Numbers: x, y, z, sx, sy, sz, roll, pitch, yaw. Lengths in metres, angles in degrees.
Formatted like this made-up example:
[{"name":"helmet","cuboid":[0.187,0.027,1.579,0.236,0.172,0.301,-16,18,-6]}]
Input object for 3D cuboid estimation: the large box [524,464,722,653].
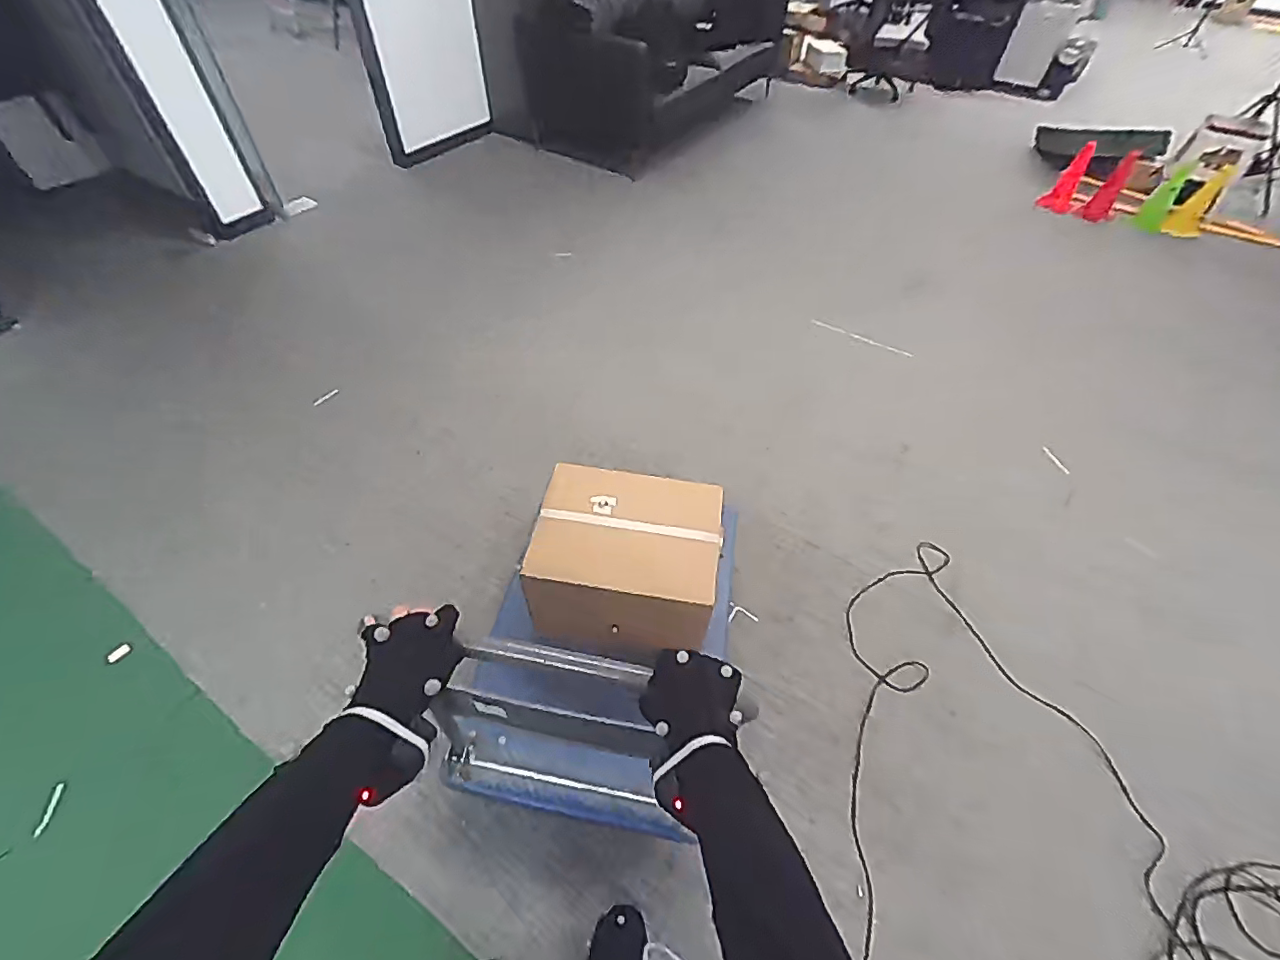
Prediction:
[{"name":"large box","cuboid":[-0.025,0.194,1.312,0.408,0.320,0.320,8,51,5]}]
